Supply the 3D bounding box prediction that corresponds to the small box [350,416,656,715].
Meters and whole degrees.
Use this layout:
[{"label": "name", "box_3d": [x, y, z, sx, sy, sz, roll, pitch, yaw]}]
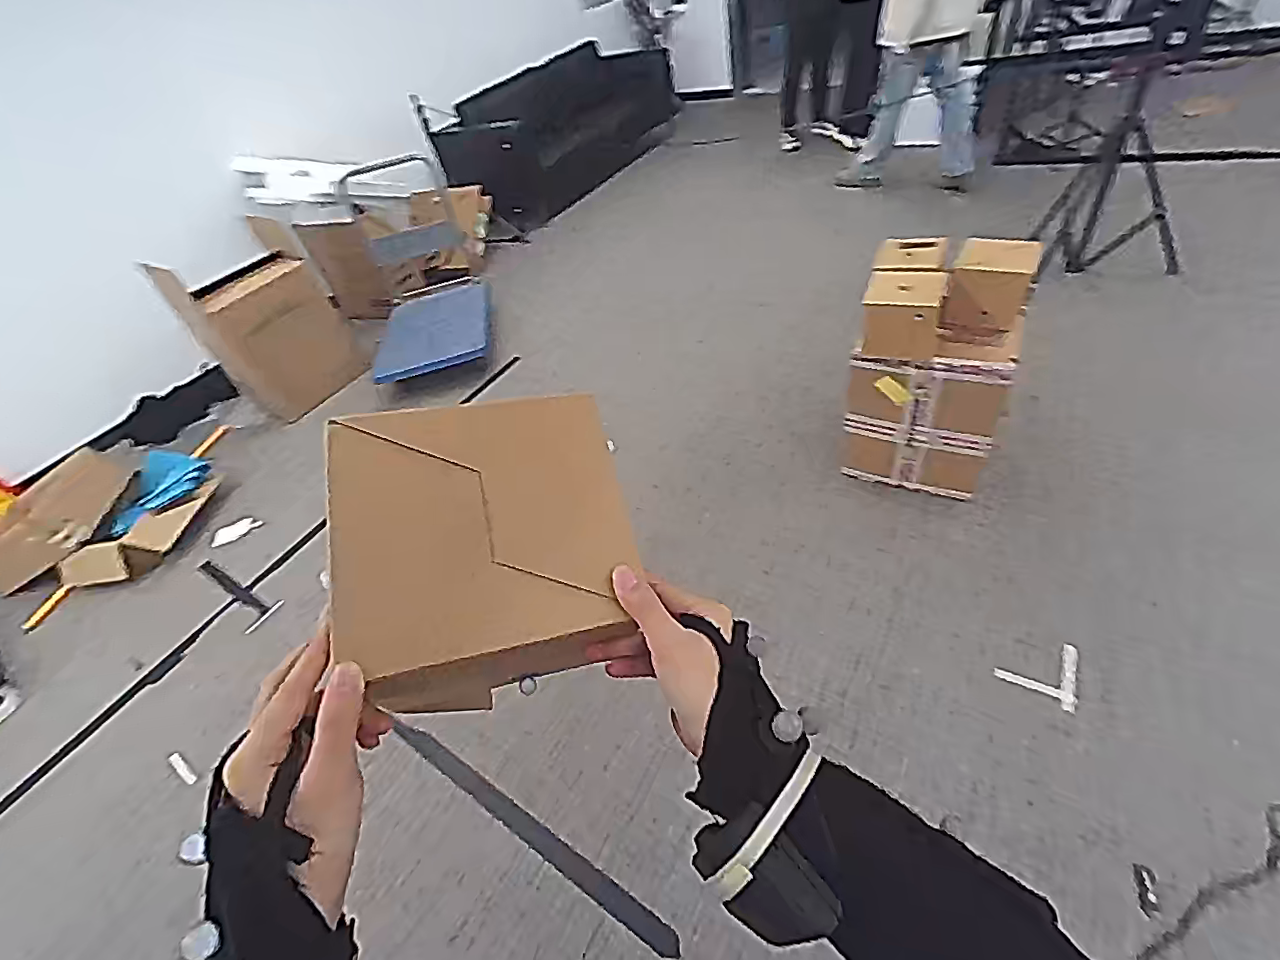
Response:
[{"label": "small box", "box_3d": [-0.101, 0.067, 0.412, 0.179, 0.176, 0.168, -8, 64, -18]}]
